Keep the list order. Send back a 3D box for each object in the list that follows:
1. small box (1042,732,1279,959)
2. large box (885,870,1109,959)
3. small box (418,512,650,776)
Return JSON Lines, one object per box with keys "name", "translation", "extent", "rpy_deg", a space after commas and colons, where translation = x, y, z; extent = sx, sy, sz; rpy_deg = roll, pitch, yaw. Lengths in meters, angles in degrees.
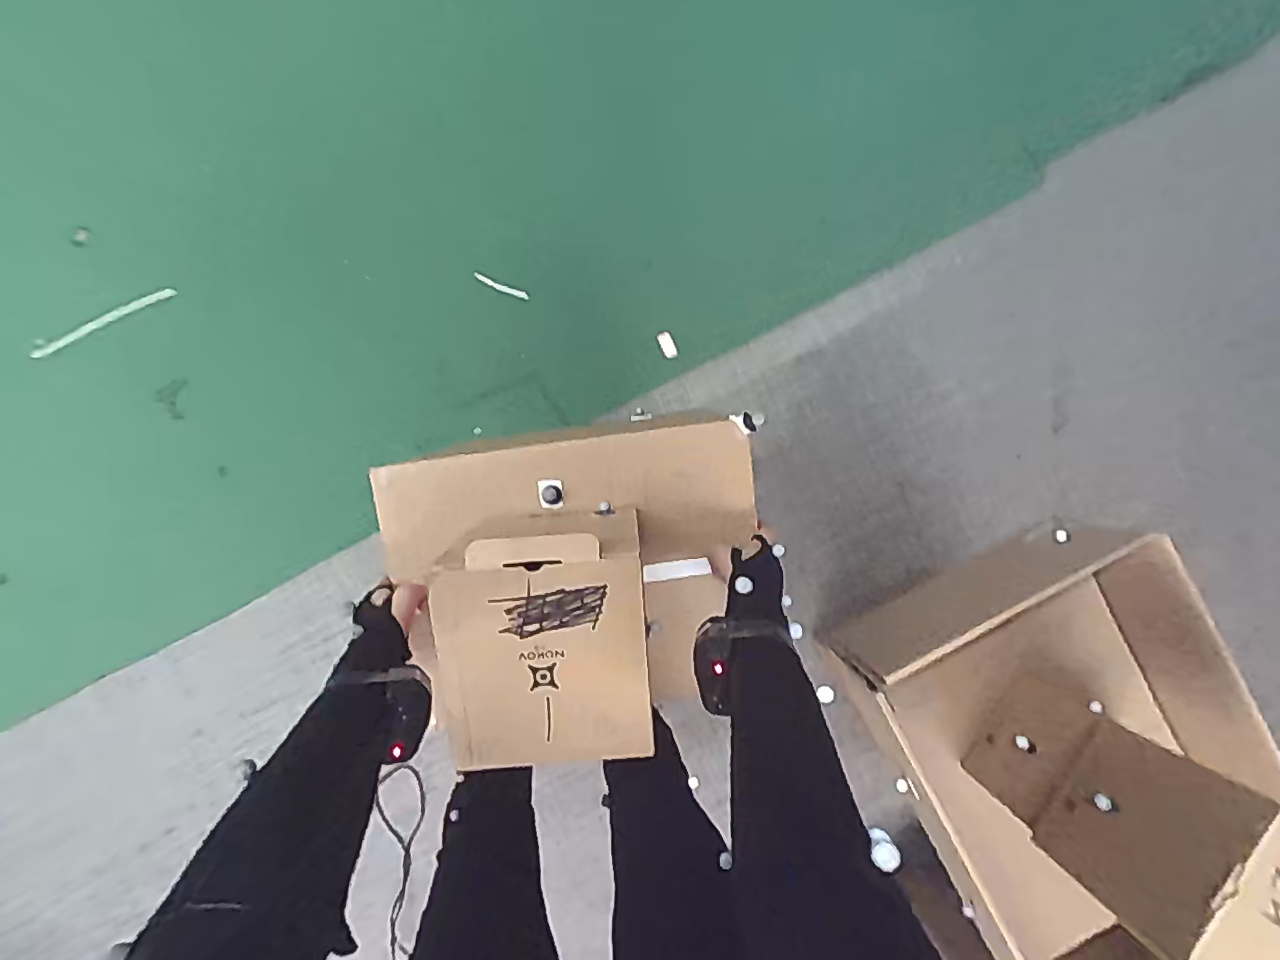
{"name": "small box", "translation": [0.556, 0.381, 0.521], "extent": [0.179, 0.176, 0.168], "rpy_deg": [33, 89, 0]}
{"name": "large box", "translation": [0.692, 1.057, 1.043], "extent": [0.320, 0.320, 0.408], "rpy_deg": [2, 92, -1]}
{"name": "small box", "translation": [-0.082, 0.130, 0.495], "extent": [0.168, 0.176, 0.179], "rpy_deg": [-5, 101, 0]}
